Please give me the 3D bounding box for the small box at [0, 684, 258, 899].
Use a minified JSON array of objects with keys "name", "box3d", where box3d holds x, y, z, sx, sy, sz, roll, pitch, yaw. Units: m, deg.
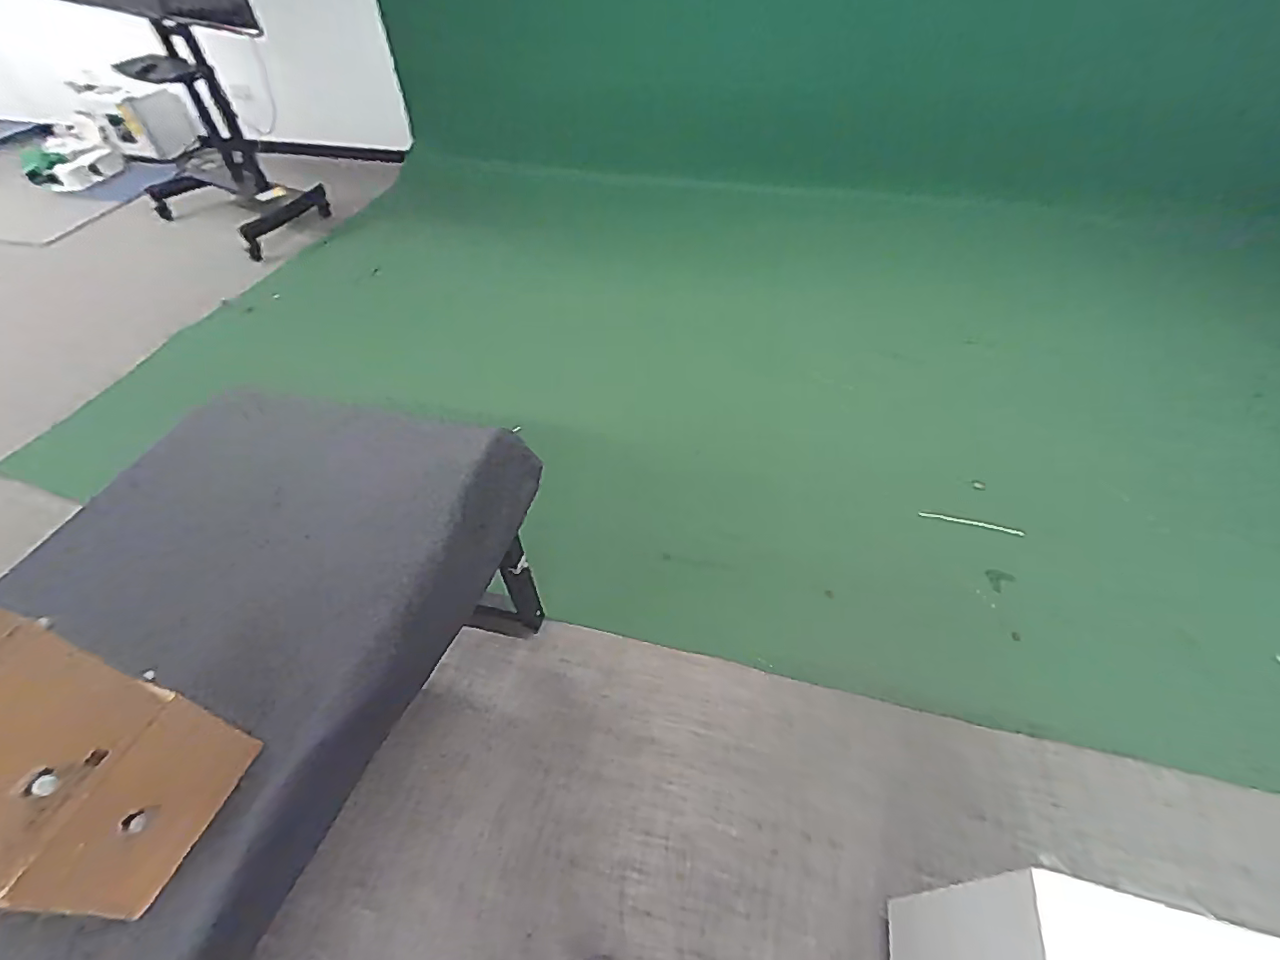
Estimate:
[{"name":"small box","box3d":[-0.561,0.308,0.567,0.168,0.176,0.179,12,51,13]}]
